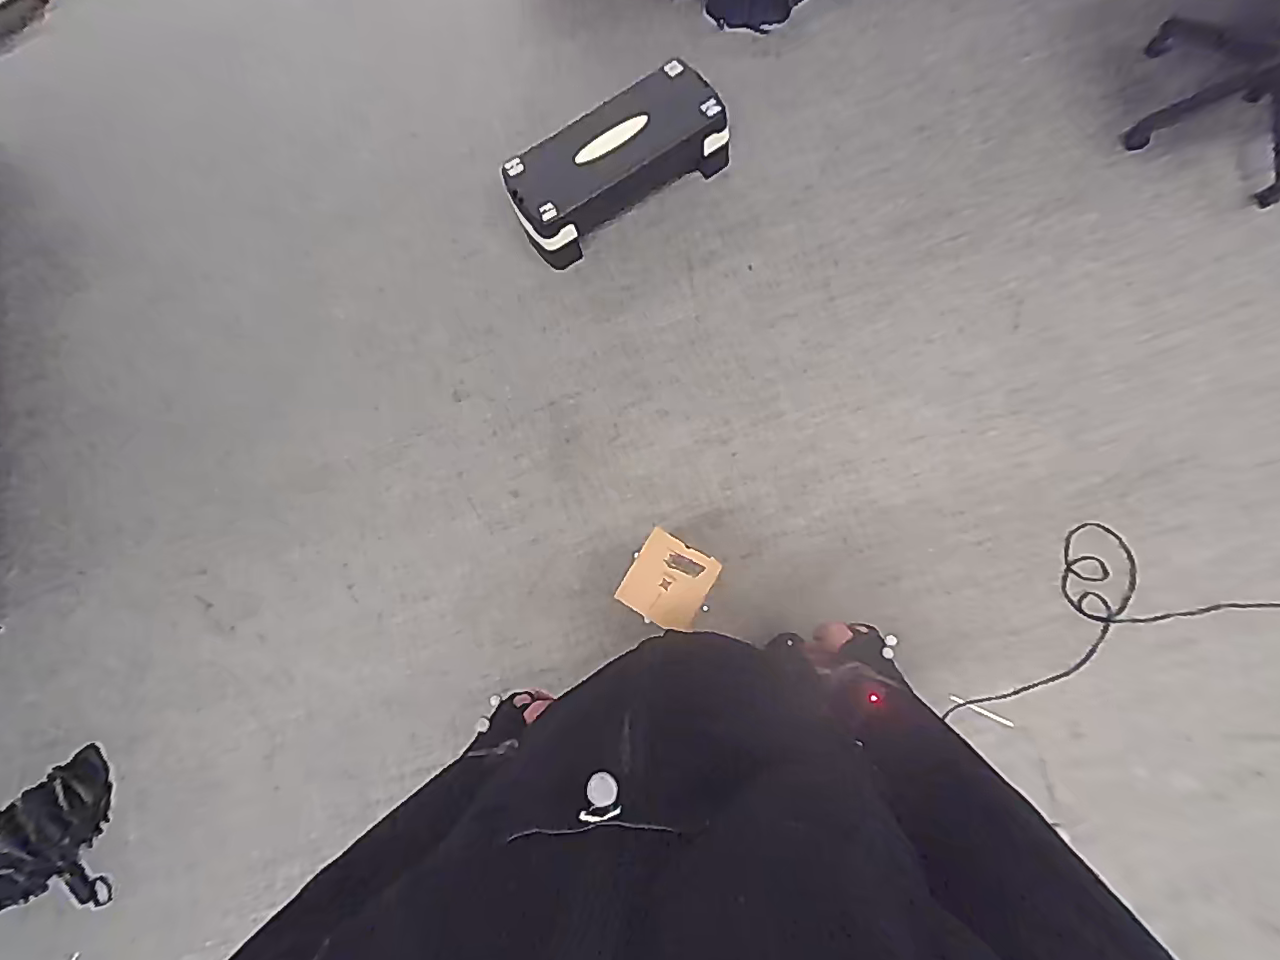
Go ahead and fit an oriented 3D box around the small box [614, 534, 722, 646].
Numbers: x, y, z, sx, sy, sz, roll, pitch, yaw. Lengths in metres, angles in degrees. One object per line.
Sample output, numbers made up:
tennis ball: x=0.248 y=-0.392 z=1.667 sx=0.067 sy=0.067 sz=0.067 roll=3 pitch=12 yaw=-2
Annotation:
small box: x=0.066 y=0.244 z=1.198 sx=0.168 sy=0.176 sz=0.179 roll=30 pitch=82 yaw=14
